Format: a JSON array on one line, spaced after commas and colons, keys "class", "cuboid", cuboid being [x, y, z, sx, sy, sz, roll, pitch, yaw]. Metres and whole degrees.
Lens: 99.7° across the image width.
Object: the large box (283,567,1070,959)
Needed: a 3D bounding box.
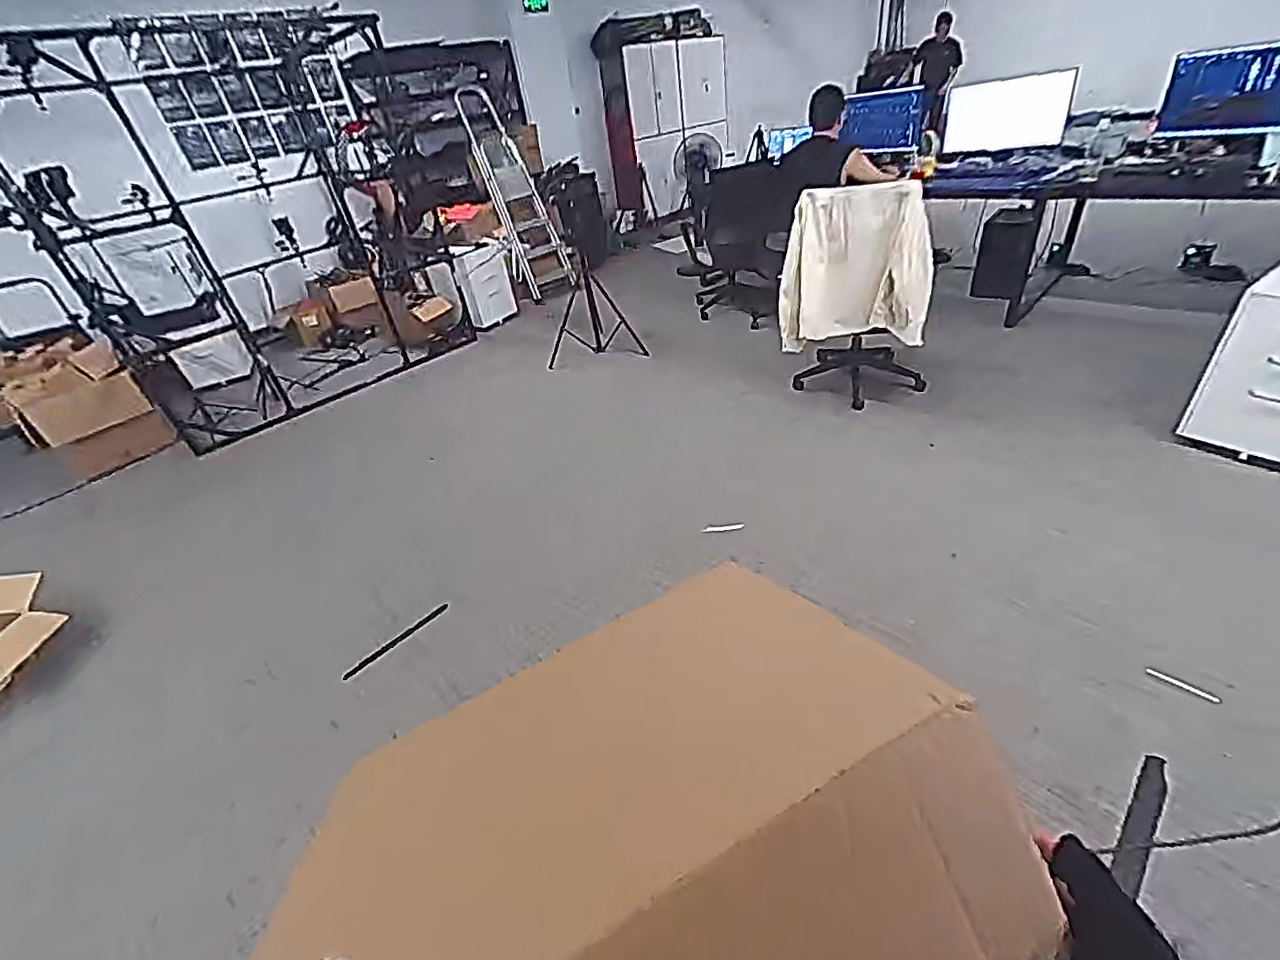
[{"class": "large box", "cuboid": [0.017, 0.317, 0.408, 0.408, 0.320, 0.320, -27, 9, -9]}]
